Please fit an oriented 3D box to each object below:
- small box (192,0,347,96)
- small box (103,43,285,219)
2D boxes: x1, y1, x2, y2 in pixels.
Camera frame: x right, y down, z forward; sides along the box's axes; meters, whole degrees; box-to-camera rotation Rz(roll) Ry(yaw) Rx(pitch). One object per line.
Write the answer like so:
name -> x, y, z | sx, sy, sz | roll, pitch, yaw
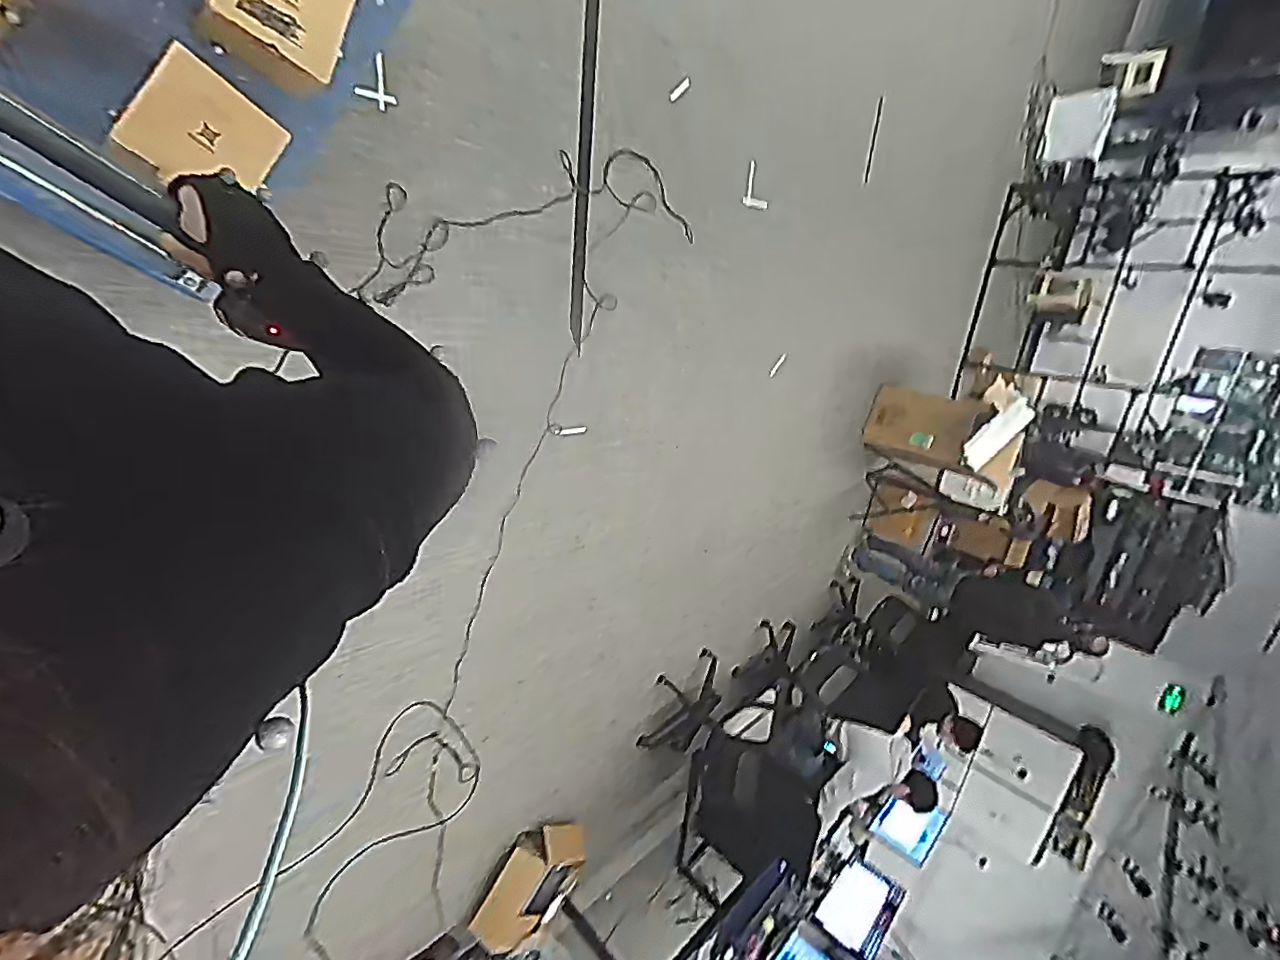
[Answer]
small box -> -0.617, -0.785, 0.899 | 0.168, 0.176, 0.179 | 16, 95, -49
small box -> -0.730, -0.553, 0.886 | 0.168, 0.176, 0.179 | 35, 81, -49
